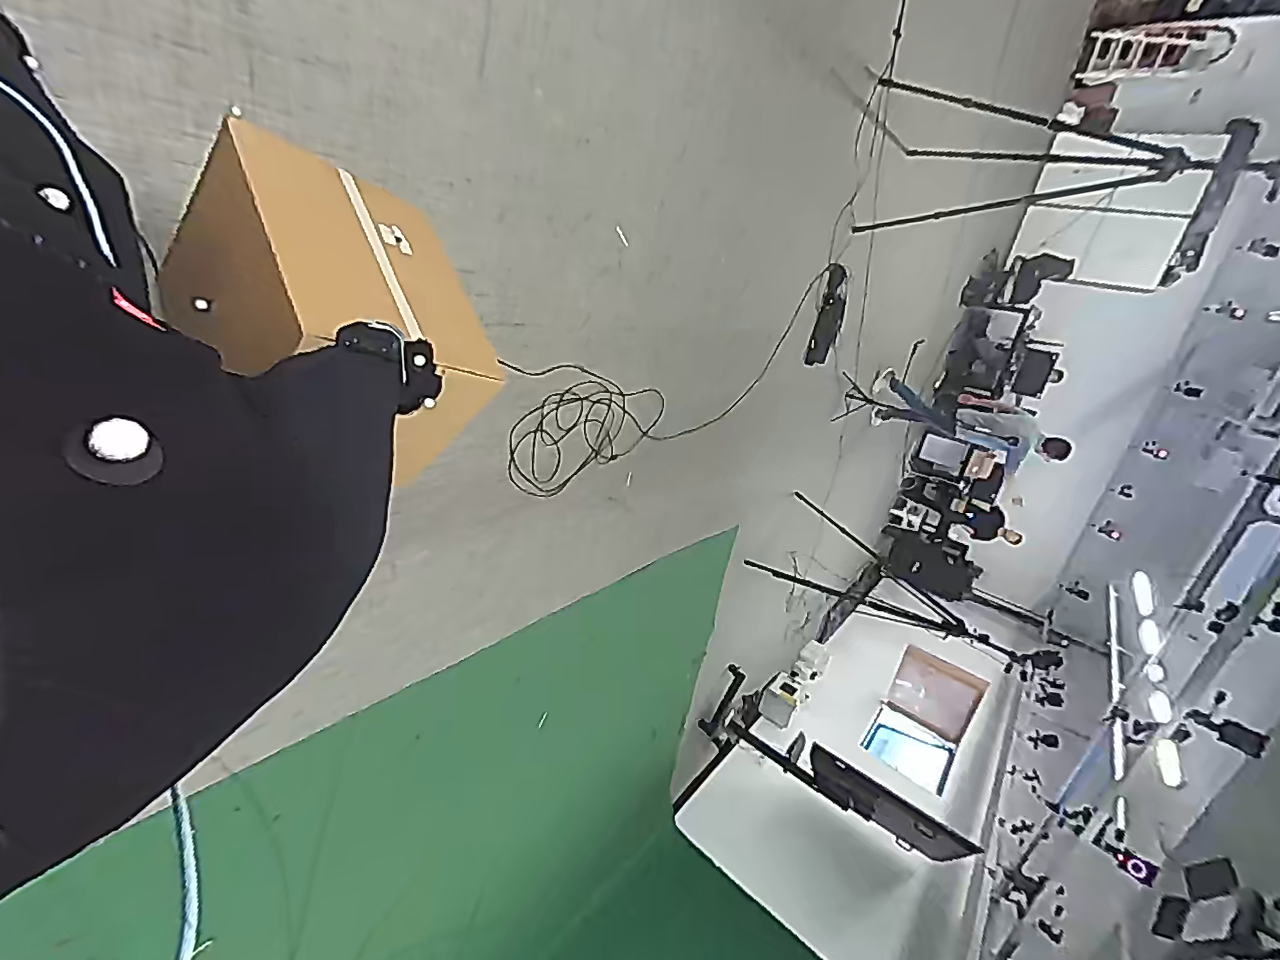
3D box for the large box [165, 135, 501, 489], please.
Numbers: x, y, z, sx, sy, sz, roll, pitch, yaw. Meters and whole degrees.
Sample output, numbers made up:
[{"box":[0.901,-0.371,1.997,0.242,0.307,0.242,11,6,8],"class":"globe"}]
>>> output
[{"box":[-0.503,-0.232,0.883,0.320,0.408,0.320,-39,160,25],"class":"large box"}]
